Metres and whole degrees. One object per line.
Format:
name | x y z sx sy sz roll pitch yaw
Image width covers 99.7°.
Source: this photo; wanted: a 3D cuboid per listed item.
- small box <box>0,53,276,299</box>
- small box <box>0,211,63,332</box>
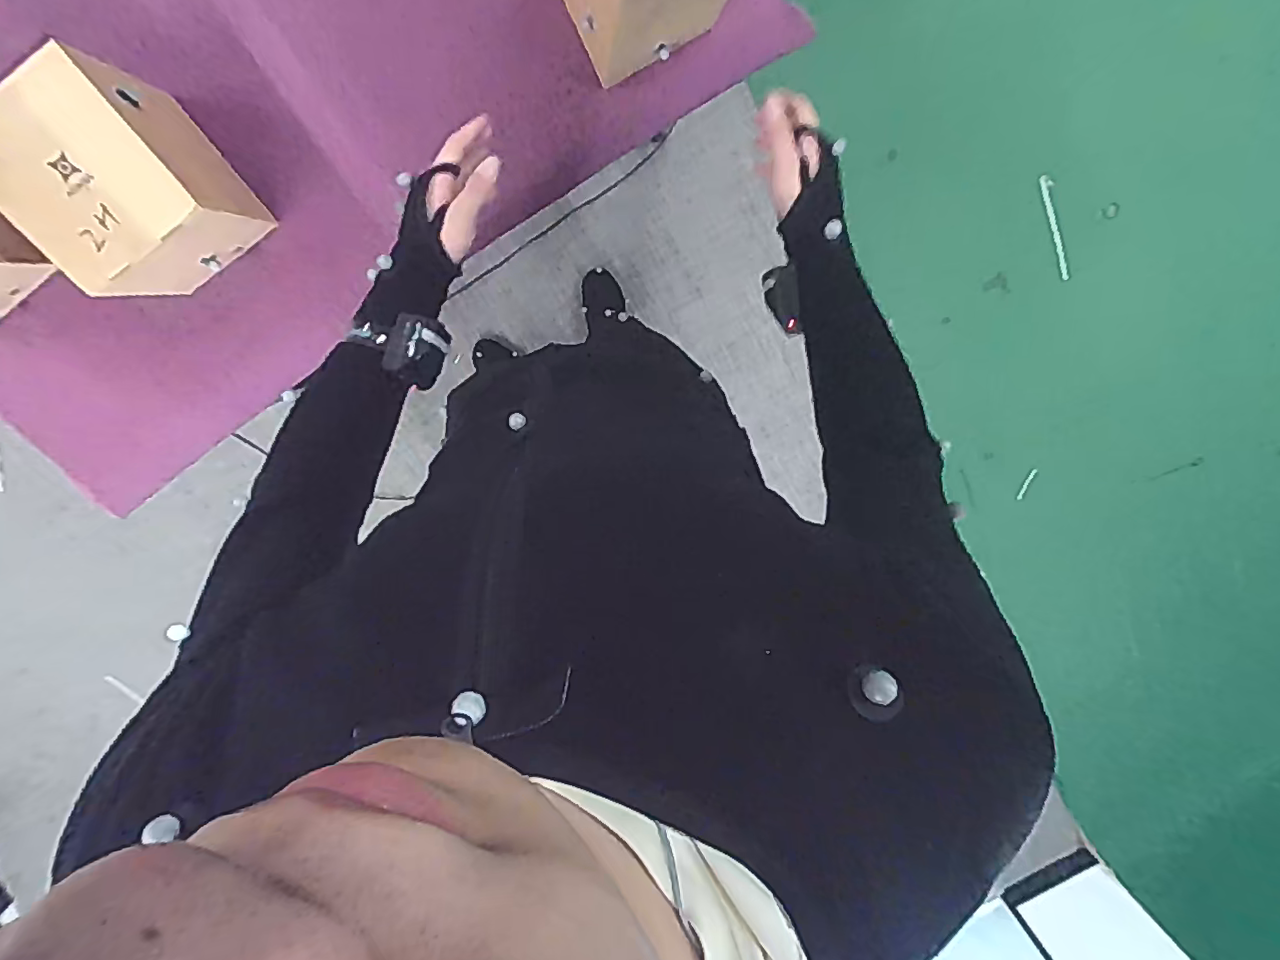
small box | -0.587 -0.330 0.631 0.168 0.176 0.179 -34 110 5
small box | -0.860 -0.266 0.619 0.168 0.176 0.179 -35 111 6
